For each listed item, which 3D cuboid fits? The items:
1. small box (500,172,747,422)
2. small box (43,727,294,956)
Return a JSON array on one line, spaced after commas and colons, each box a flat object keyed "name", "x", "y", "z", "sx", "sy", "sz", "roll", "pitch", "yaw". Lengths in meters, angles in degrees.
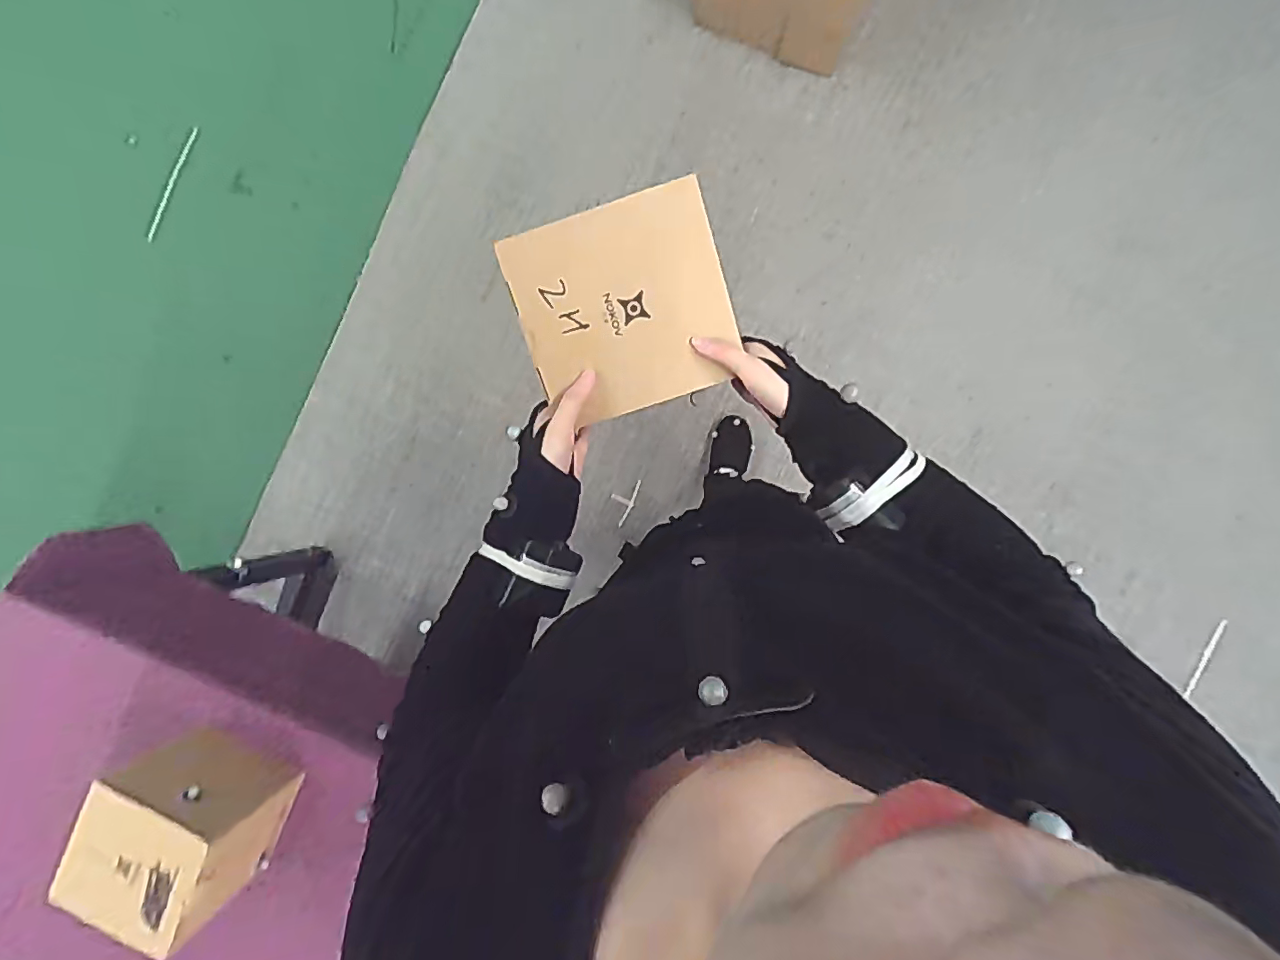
[{"name": "small box", "x": -0.012, "y": -0.167, "z": 0.530, "sx": 0.179, "sy": 0.176, "sz": 0.168, "roll": -16, "pitch": 102, "yaw": 4}, {"name": "small box", "x": -0.629, "y": 0.477, "z": 0.746, "sx": 0.179, "sy": 0.176, "sz": 0.168, "roll": 24, "pitch": 92, "yaw": 5}]
